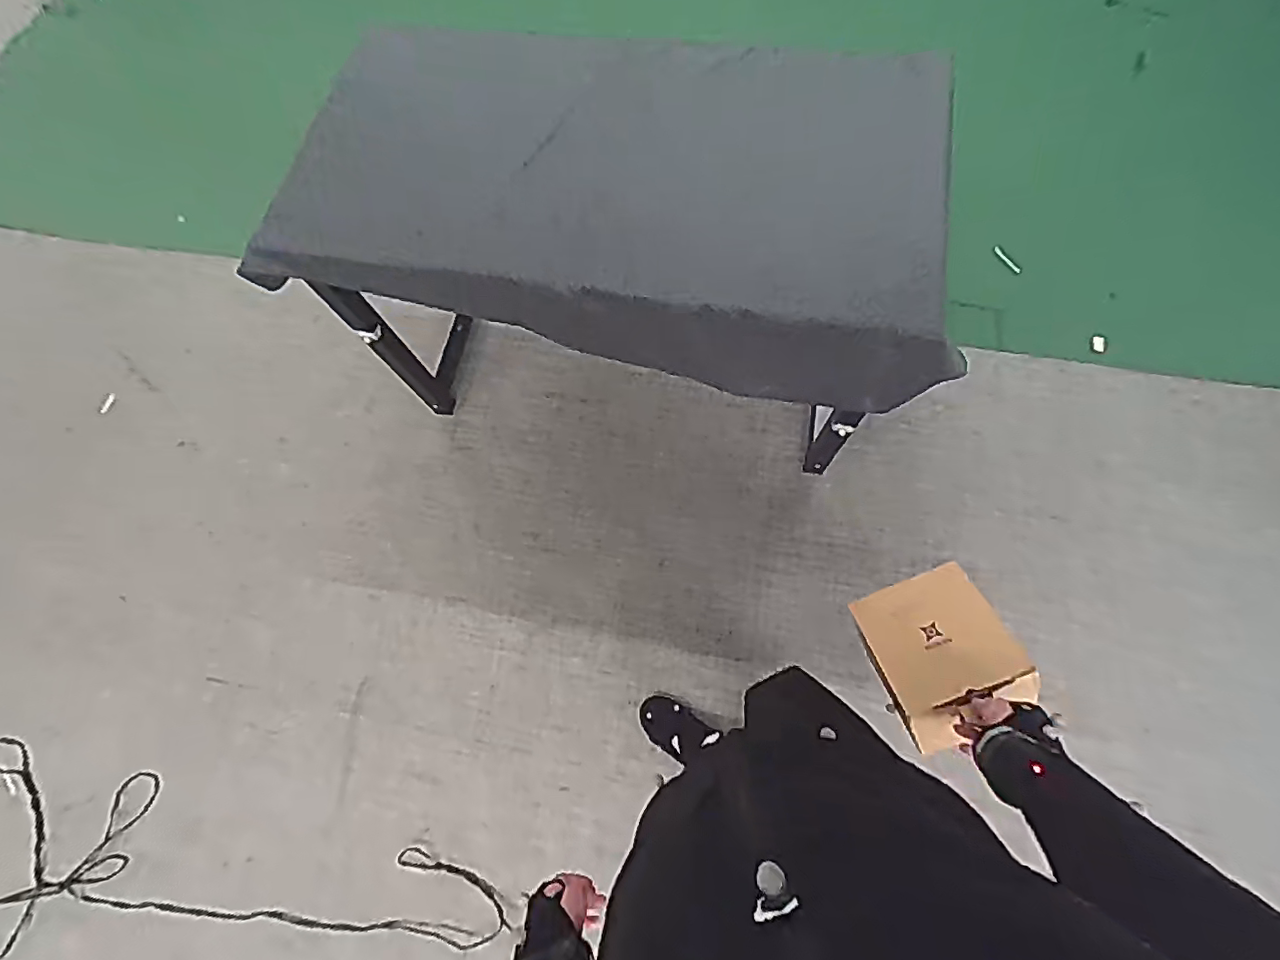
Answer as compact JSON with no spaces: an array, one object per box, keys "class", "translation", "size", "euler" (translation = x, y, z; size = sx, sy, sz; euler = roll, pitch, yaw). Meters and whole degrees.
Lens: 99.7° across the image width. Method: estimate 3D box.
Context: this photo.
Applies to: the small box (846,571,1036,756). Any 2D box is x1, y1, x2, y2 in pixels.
[{"class":"small box","translation":[0.422,0.268,0.768],"size":[0.168,0.176,0.179],"euler":[-26,40,9]}]
